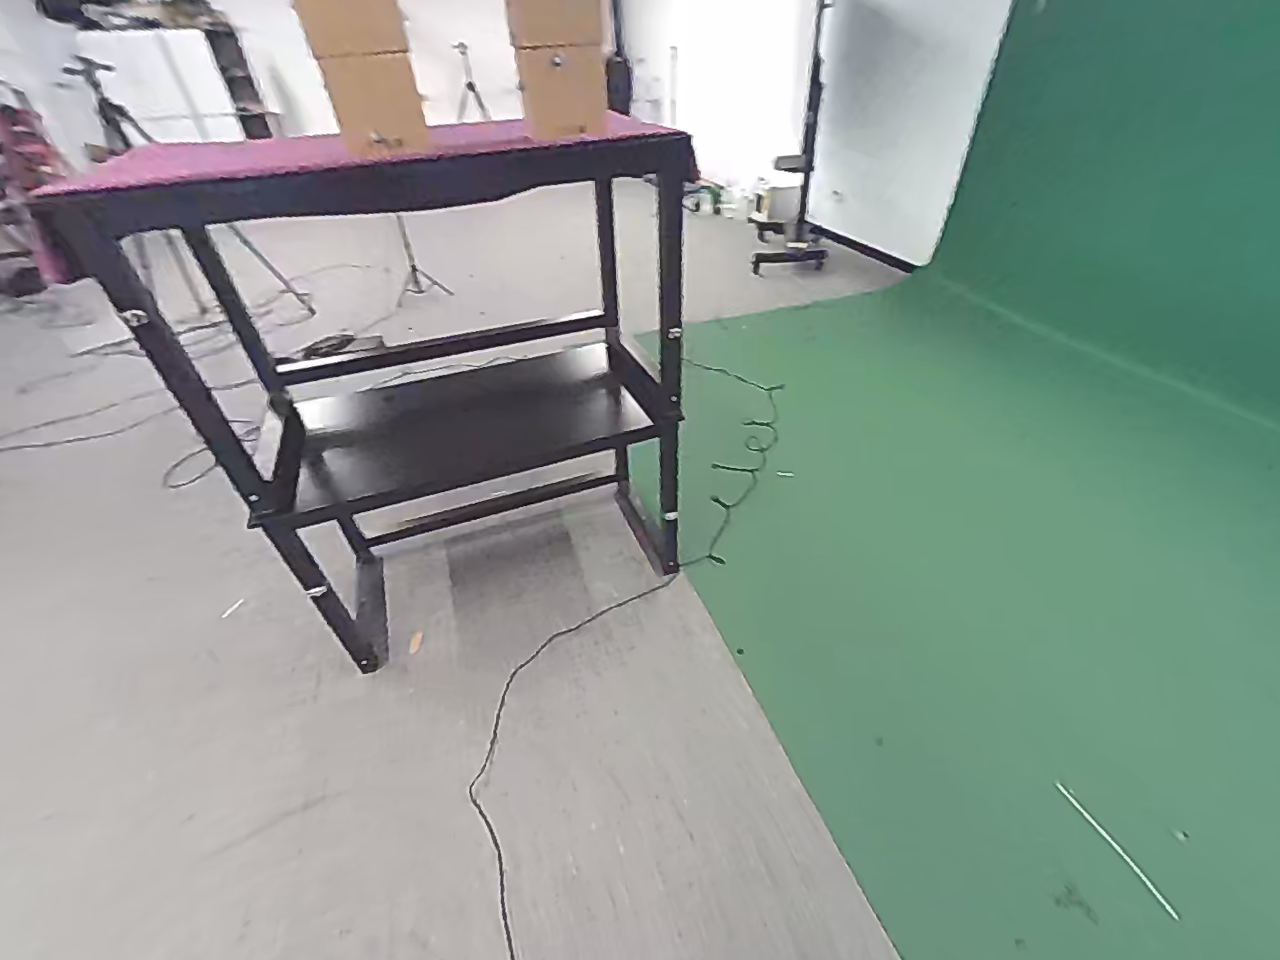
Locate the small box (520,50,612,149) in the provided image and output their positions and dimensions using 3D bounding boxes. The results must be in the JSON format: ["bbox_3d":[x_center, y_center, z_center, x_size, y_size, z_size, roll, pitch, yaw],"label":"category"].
[{"bbox_3d":[-0.165,-0.849,1.208,0.168,0.176,0.179,-13,40,-11],"label":"small box"}]

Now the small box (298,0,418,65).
[{"bbox_3d":[-0.528,-0.874,1.001,0.179,0.176,0.168,-15,40,-12],"label":"small box"}]

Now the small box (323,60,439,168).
[{"bbox_3d":[-0.519,-0.749,1.108,0.168,0.176,0.179,-14,40,-12],"label":"small box"}]
